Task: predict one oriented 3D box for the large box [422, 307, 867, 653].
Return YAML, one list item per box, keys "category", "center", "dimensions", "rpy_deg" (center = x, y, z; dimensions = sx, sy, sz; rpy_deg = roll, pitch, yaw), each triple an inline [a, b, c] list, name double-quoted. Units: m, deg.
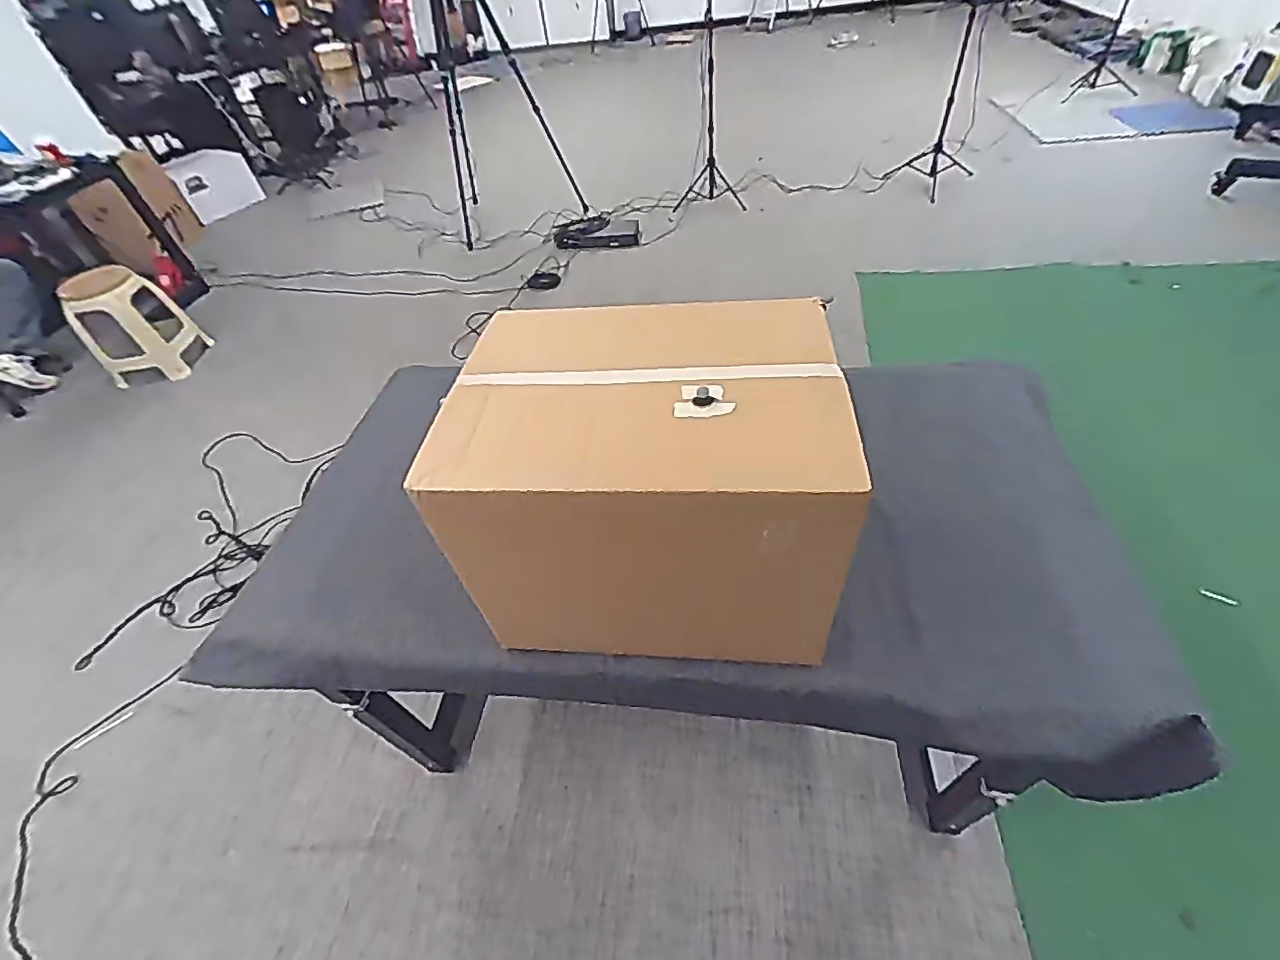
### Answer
- category: "large box"
  center: [0.018, 0.003, 0.679]
  dimensions: [0.408, 0.320, 0.320]
  rpy_deg: [0, 46, 7]
